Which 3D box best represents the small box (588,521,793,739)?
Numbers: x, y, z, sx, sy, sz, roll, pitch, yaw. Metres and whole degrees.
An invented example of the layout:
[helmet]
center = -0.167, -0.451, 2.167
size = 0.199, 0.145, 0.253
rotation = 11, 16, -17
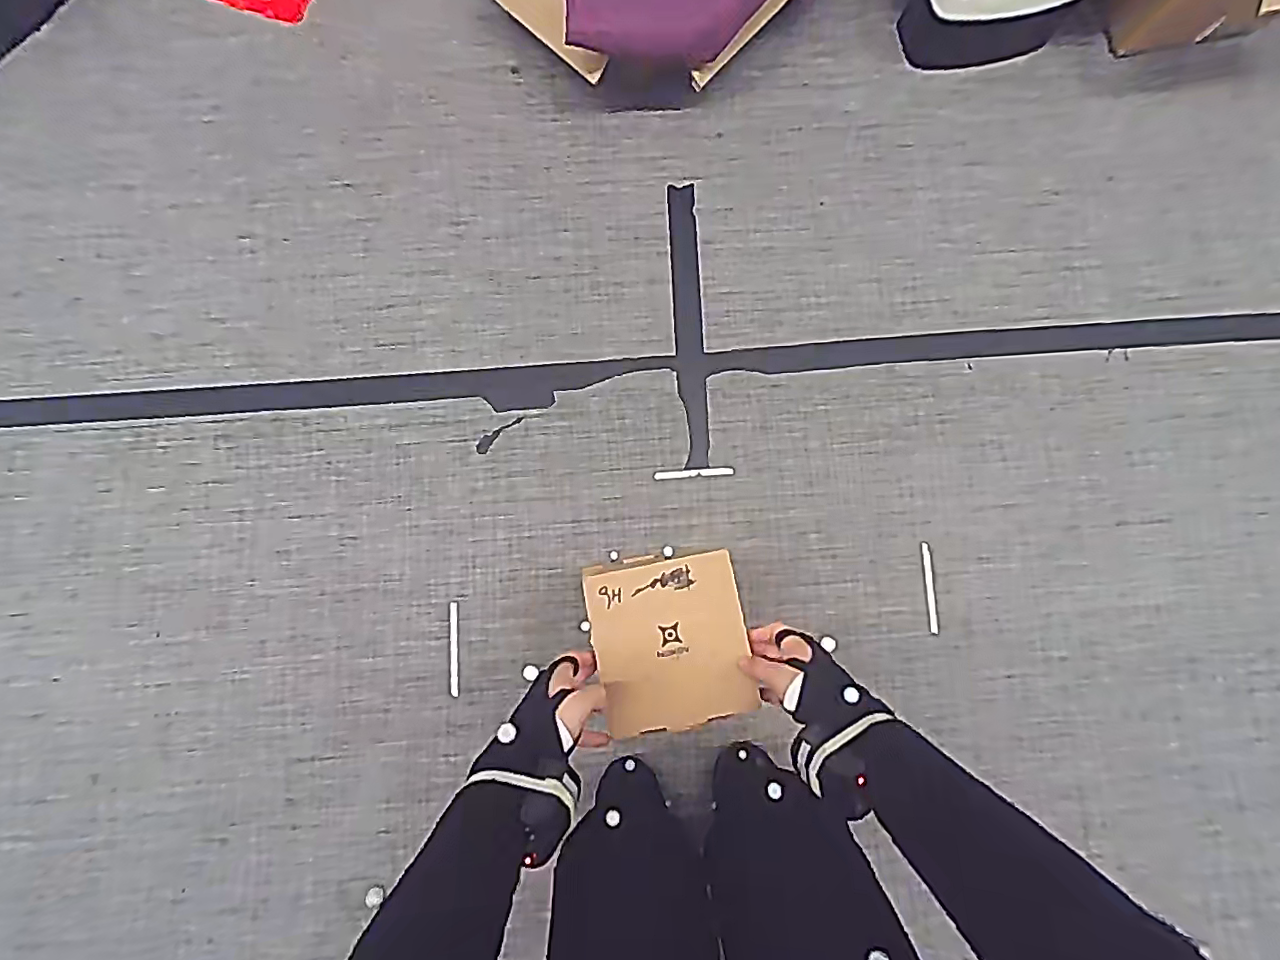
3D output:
[small box]
center = 0.047, 0.144, 0.580
size = 0.168, 0.176, 0.179
rotation = -11, 84, -2
